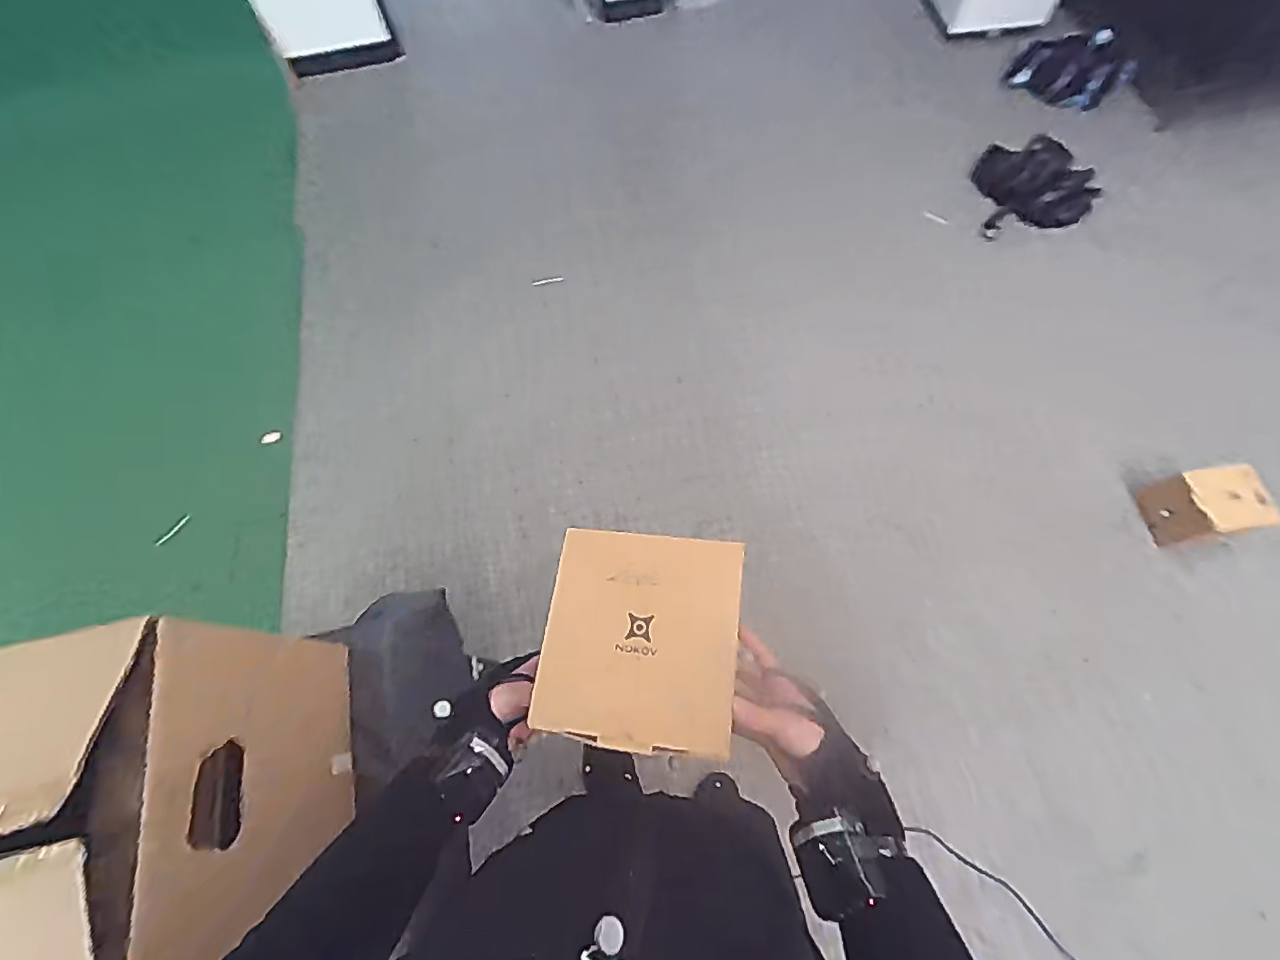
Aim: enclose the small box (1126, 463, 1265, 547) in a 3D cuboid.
[{"bbox_3d":[1.474,0.073,1.455,0.179,0.176,0.168,-9,68,-1],"label":"small box"}]
